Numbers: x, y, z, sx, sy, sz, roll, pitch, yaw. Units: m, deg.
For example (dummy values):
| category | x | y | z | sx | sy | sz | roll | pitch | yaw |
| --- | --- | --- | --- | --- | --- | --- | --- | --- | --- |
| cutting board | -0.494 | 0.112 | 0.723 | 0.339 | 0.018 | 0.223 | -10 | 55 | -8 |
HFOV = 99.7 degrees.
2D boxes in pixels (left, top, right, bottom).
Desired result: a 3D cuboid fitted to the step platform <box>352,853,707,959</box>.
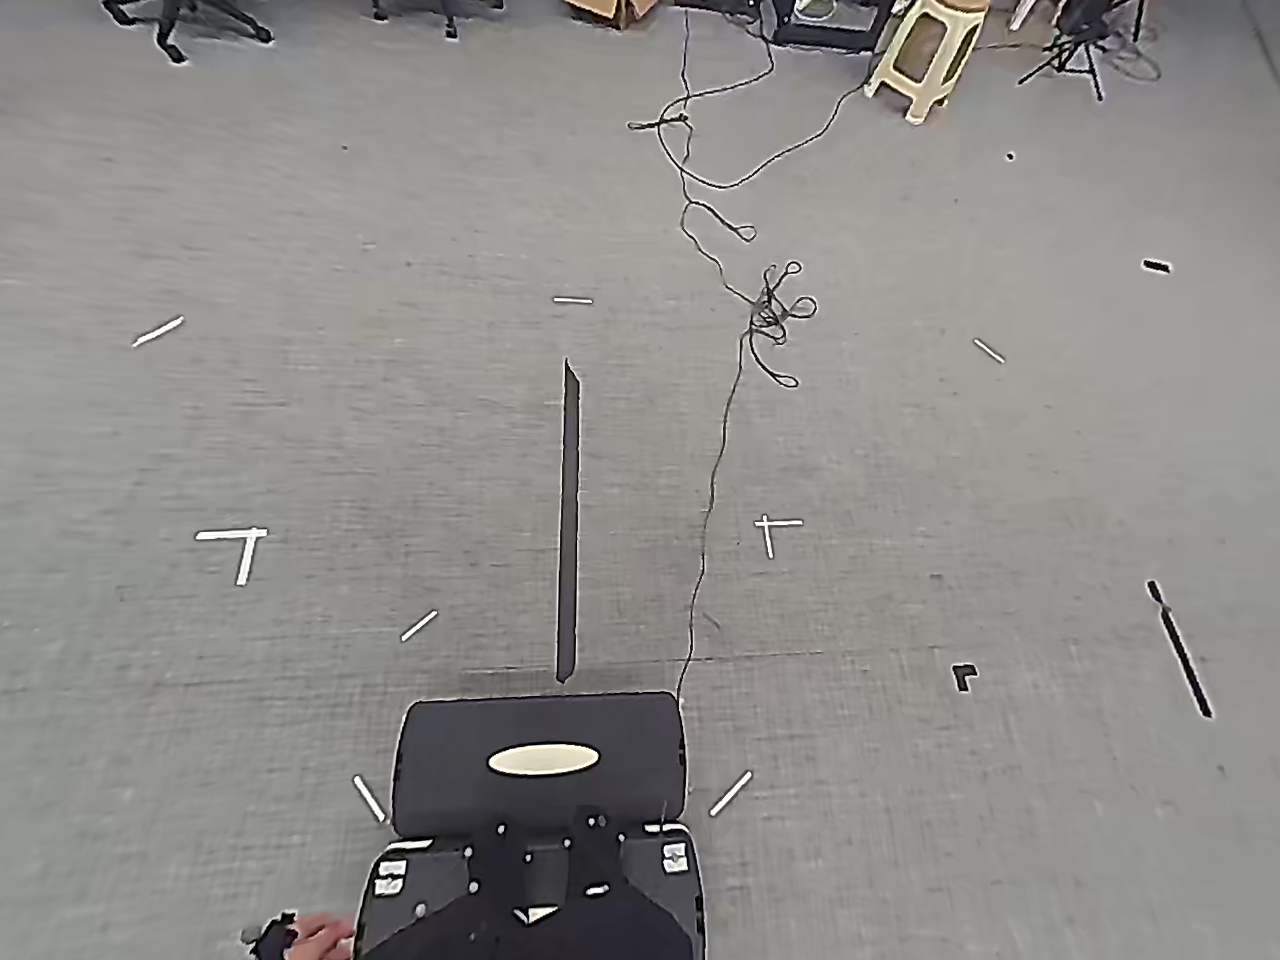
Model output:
| category | x | y | z | sx | sy | sz | roll | pitch | yaw |
| --- | --- | --- | --- | --- | --- | --- | --- | --- | --- |
| step platform | -0.207 | 0.942 | 1.088 | 0.684 | 0.204 | 0.286 | 4 | 62 | -3 |
